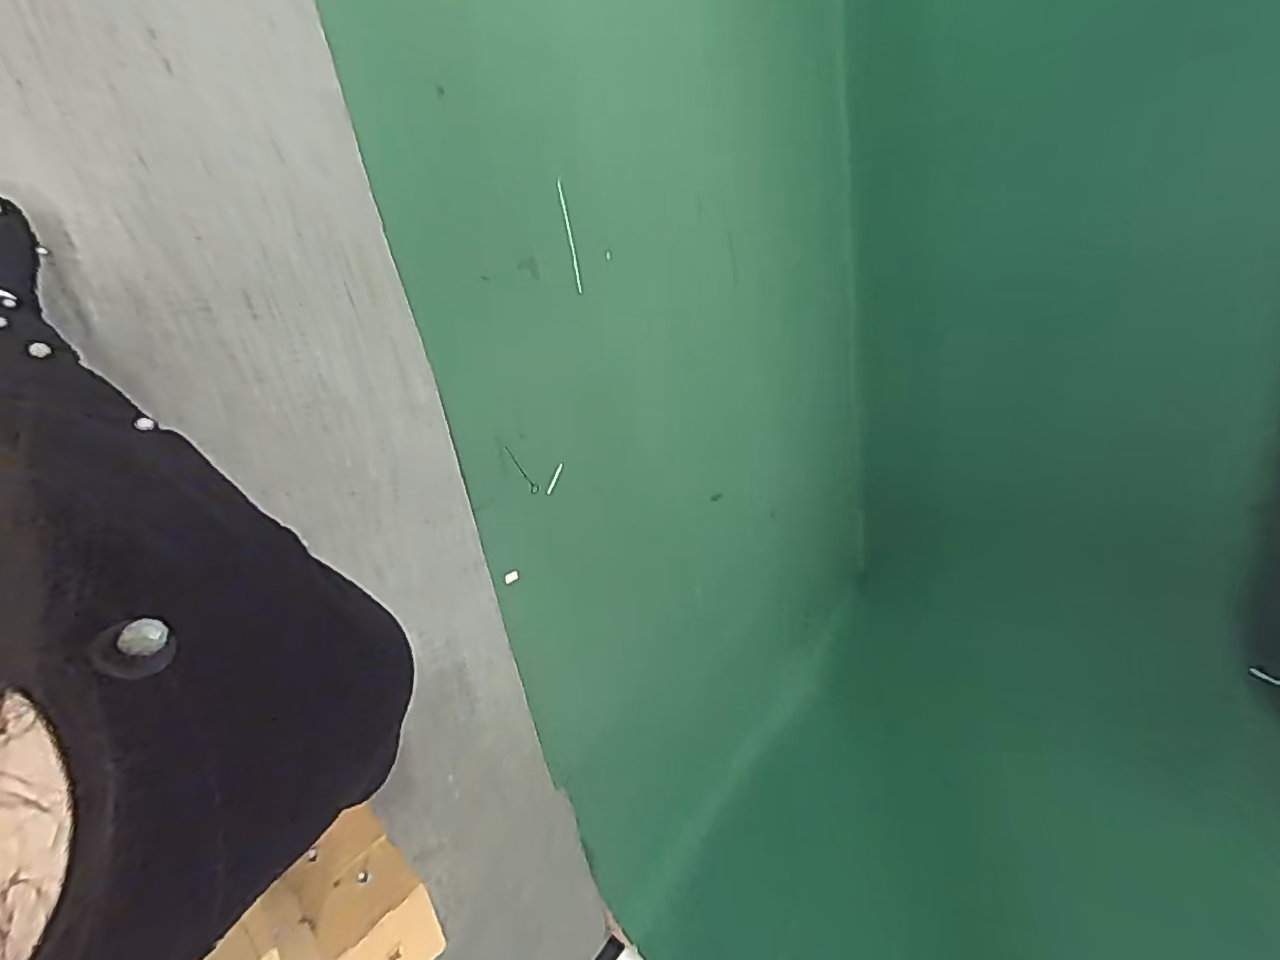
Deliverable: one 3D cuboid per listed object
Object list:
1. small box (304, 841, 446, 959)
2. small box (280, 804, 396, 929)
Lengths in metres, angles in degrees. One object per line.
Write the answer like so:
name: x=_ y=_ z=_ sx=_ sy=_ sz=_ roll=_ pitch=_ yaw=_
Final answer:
small box: x=-0.496 y=0.837 z=1.015 sx=0.168 sy=0.176 sz=0.179 roll=-26 pitch=115 yaw=-43
small box: x=-0.615 y=0.815 z=1.124 sx=0.168 sy=0.176 sz=0.179 roll=-25 pitch=115 yaw=-44
